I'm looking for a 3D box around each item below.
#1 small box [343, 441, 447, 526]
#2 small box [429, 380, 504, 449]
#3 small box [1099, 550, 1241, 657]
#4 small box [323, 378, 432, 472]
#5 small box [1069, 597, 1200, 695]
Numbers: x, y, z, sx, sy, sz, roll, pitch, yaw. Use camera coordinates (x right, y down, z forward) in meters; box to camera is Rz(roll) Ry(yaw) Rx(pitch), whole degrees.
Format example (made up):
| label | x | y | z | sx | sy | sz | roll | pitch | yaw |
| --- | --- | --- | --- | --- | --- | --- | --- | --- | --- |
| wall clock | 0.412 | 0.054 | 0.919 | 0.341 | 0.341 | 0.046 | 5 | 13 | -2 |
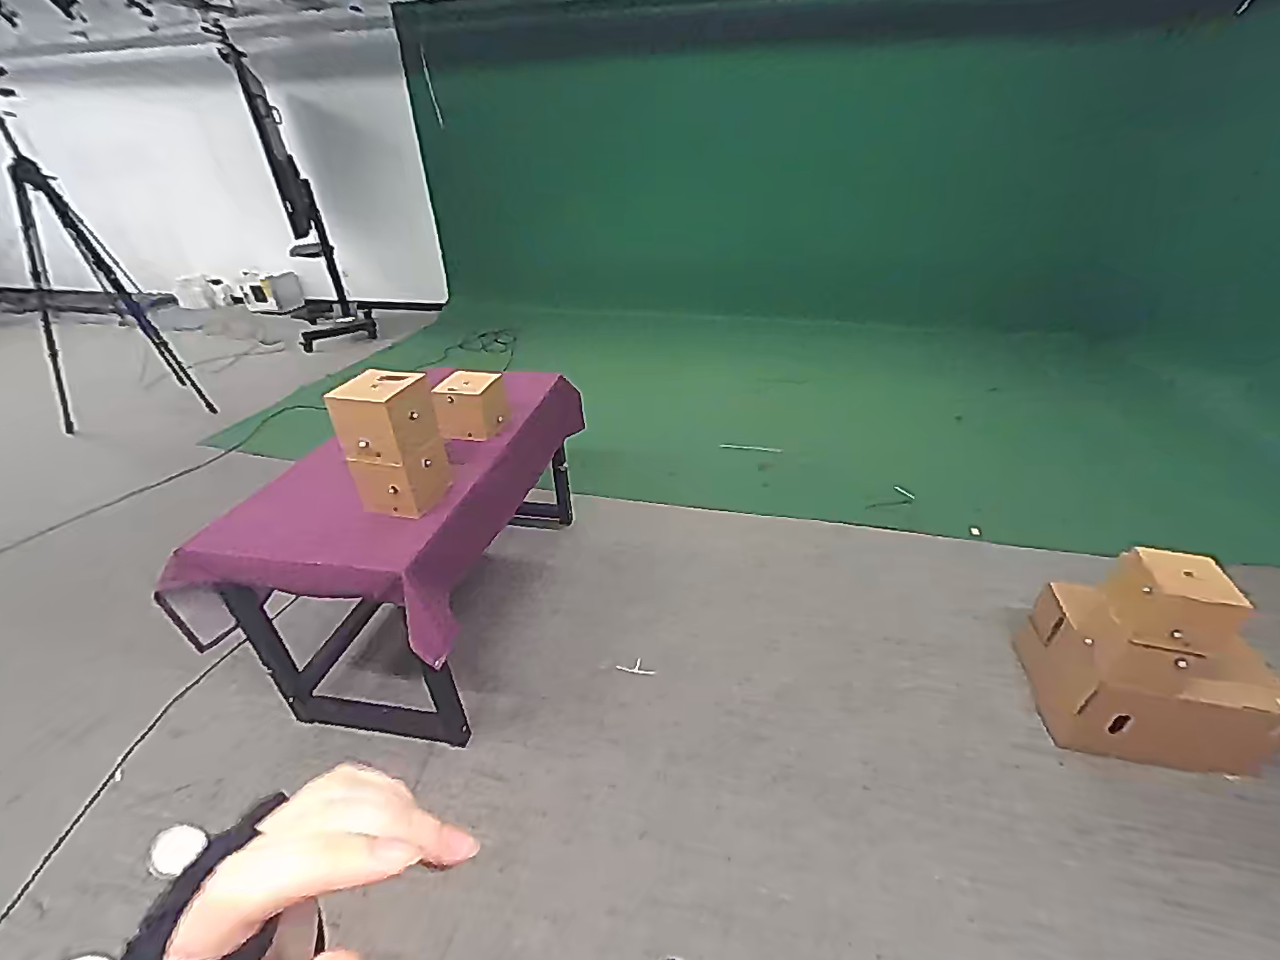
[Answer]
| label | x | y | z | sx | sy | sz | roll | pitch | yaw |
| --- | --- | --- | --- | --- | --- | --- | --- | --- | --- |
| small box | -0.636 | 0.003 | 1.433 | 0.168 | 0.176 | 0.179 | 6 | 32 | 12 |
| small box | -0.563 | -0.218 | 1.784 | 0.168 | 0.176 | 0.179 | 5 | 32 | 11 |
| small box | 1.294 | 0.304 | 1.340 | 0.168 | 0.176 | 0.179 | 9 | 35 | 13 |
| small box | -0.642 | -0.139 | 1.351 | 0.168 | 0.176 | 0.179 | 6 | 33 | 11 |
| small box | 1.294 | 0.440 | 1.431 | 0.179 | 0.176 | 0.168 | 8 | 33 | 13 |
